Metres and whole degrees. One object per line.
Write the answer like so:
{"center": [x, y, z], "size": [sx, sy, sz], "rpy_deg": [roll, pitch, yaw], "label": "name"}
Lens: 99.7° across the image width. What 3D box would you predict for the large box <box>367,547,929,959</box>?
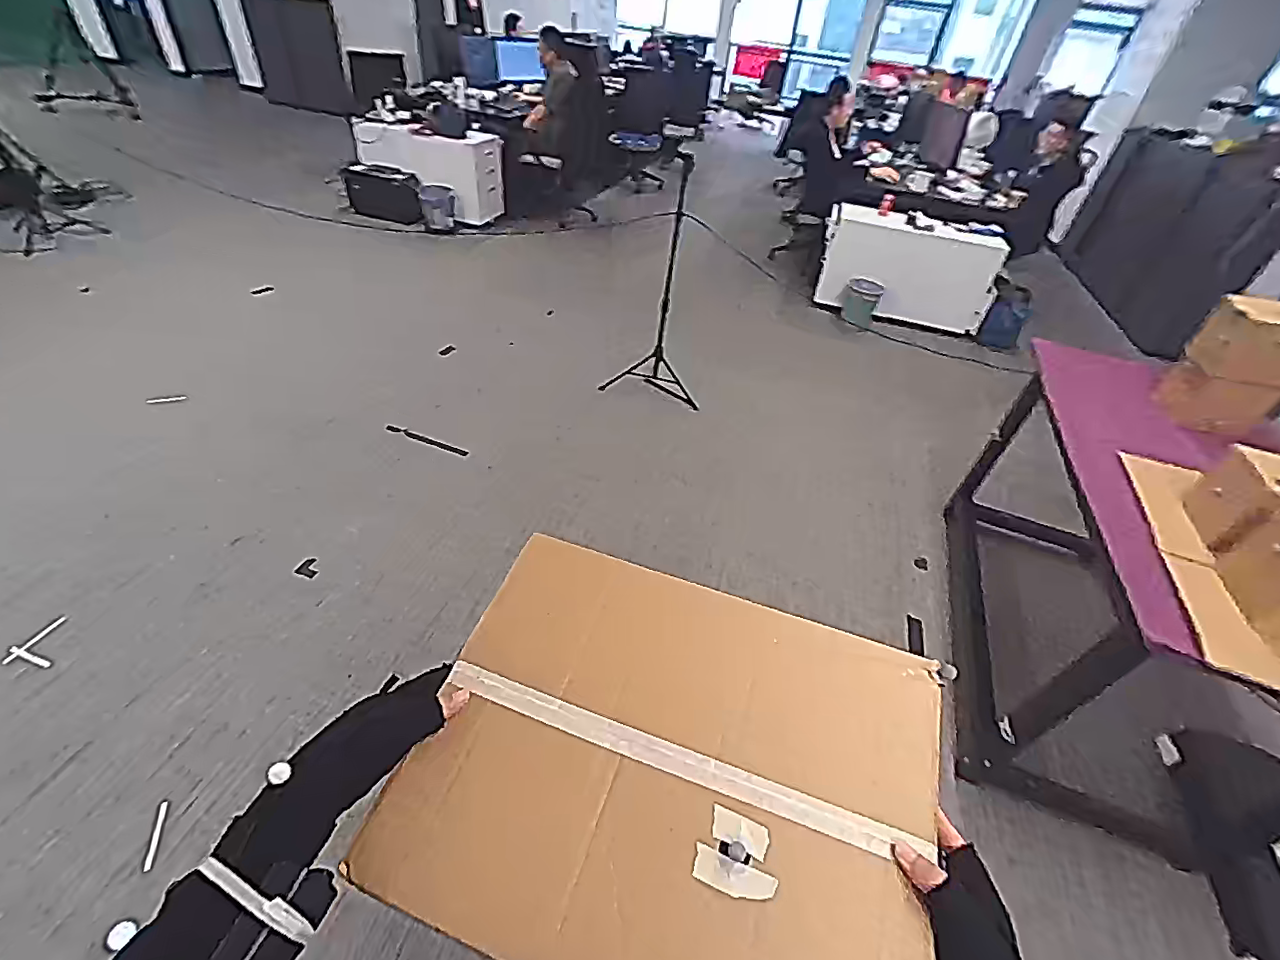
{"center": [0.028, 0.325, 0.566], "size": [0.408, 0.320, 0.320], "rpy_deg": [16, 53, 13], "label": "large box"}
